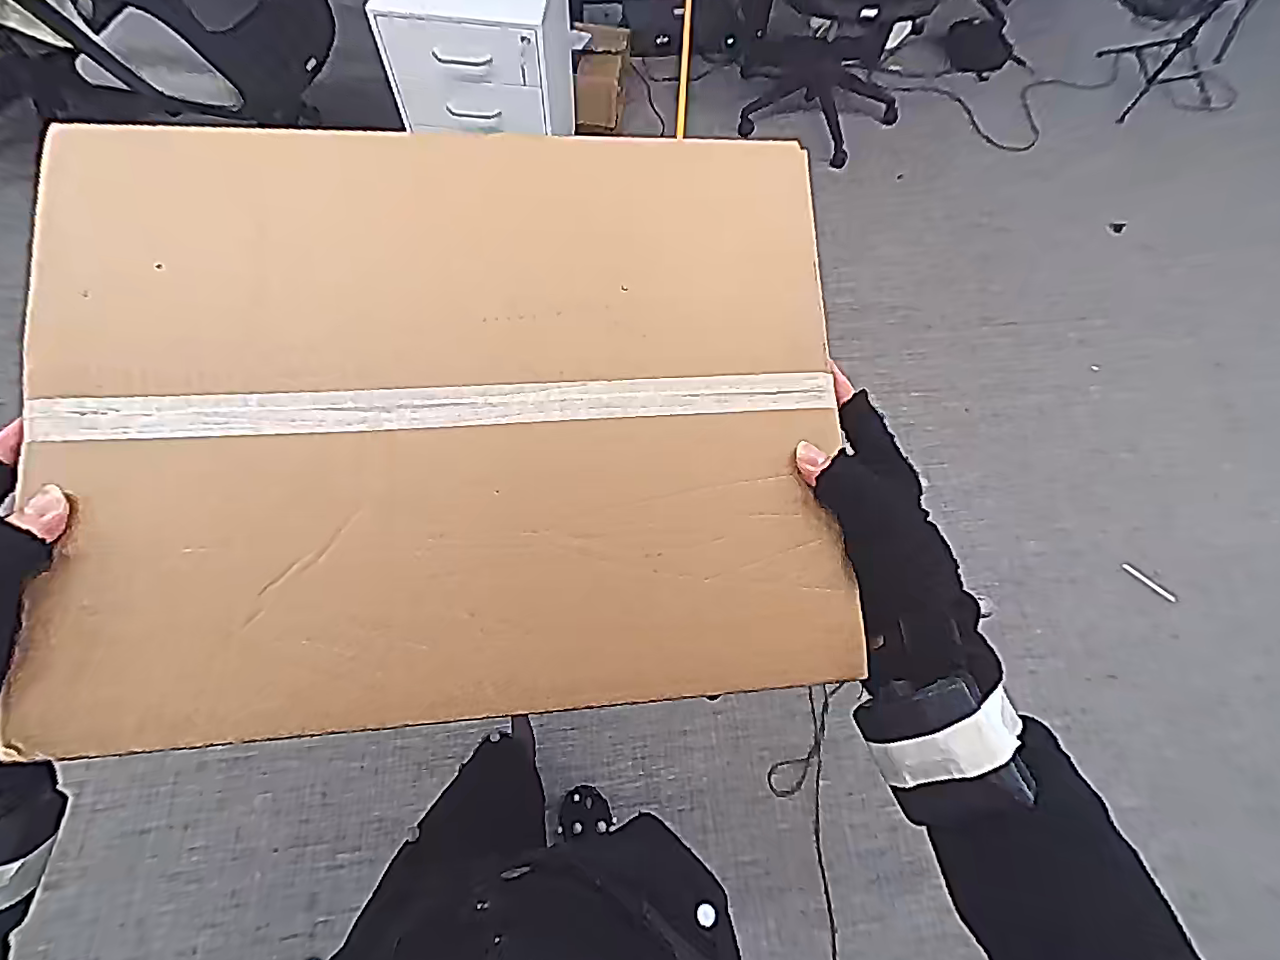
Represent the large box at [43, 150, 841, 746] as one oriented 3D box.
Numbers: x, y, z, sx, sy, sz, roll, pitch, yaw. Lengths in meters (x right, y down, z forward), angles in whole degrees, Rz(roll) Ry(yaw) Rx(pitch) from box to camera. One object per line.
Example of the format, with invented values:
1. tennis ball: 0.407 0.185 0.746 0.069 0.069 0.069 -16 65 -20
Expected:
1. large box: -0.109 -0.018 0.441 0.408 0.320 0.320 -3 82 -7
